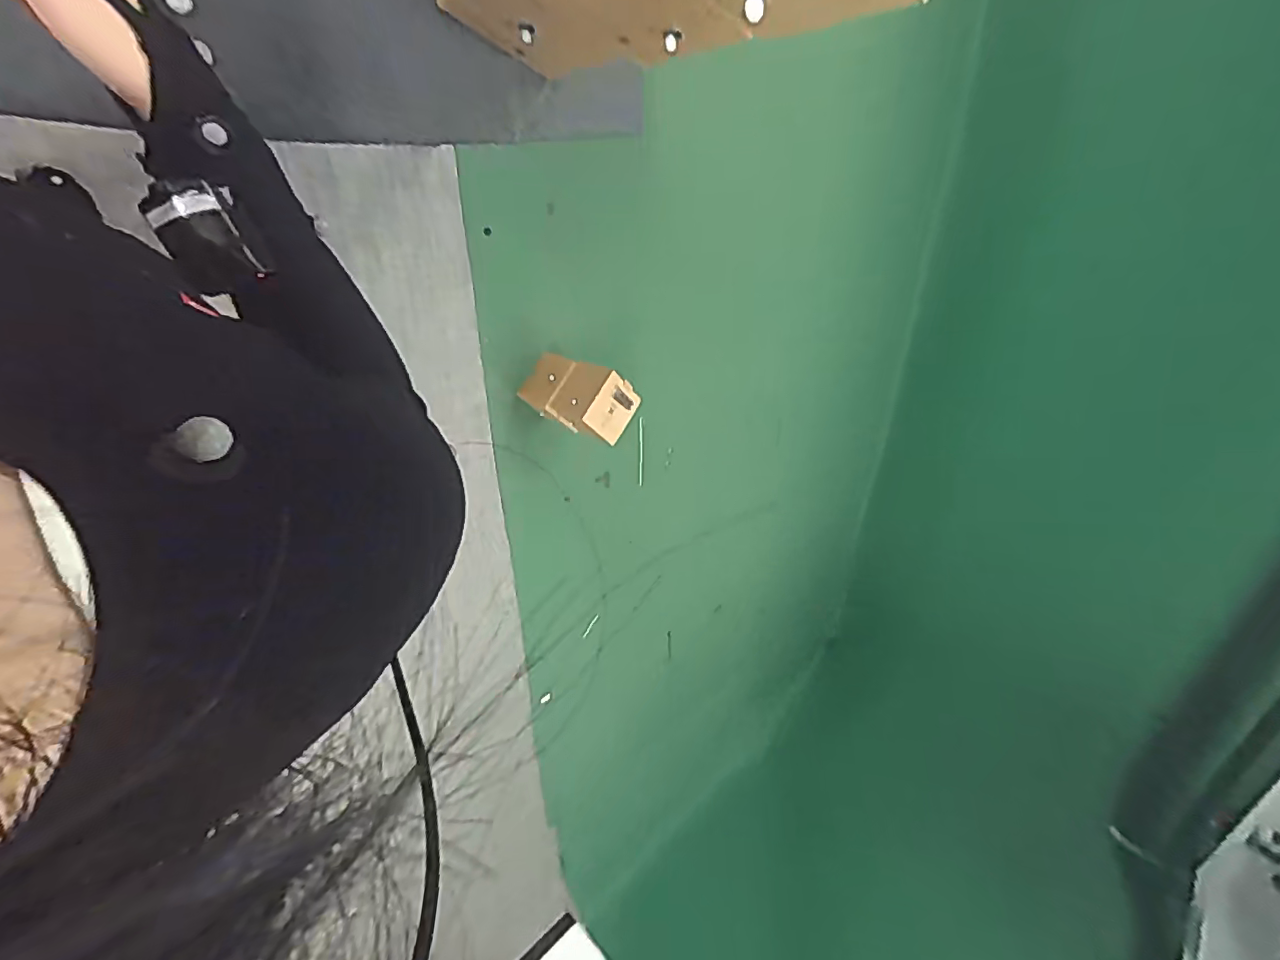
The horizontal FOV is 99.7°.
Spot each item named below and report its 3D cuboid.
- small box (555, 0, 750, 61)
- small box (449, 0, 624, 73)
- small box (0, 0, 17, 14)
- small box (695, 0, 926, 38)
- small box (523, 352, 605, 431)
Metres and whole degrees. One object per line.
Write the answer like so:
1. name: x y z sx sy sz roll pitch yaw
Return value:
1. small box: 0.016 -0.545 0.518 0.168 0.176 0.179 -8 113 -45
2. small box: -0.109 -0.602 0.607 0.168 0.176 0.179 -1 109 -46
3. small box: -0.432 -0.355 0.244 0.168 0.176 0.179 -12 125 -40
4. small box: 0.133 -0.487 0.418 0.168 0.176 0.179 -15 120 -42
5. small box: -0.255 -0.290 1.759 0.168 0.176 0.179 38 81 -49
